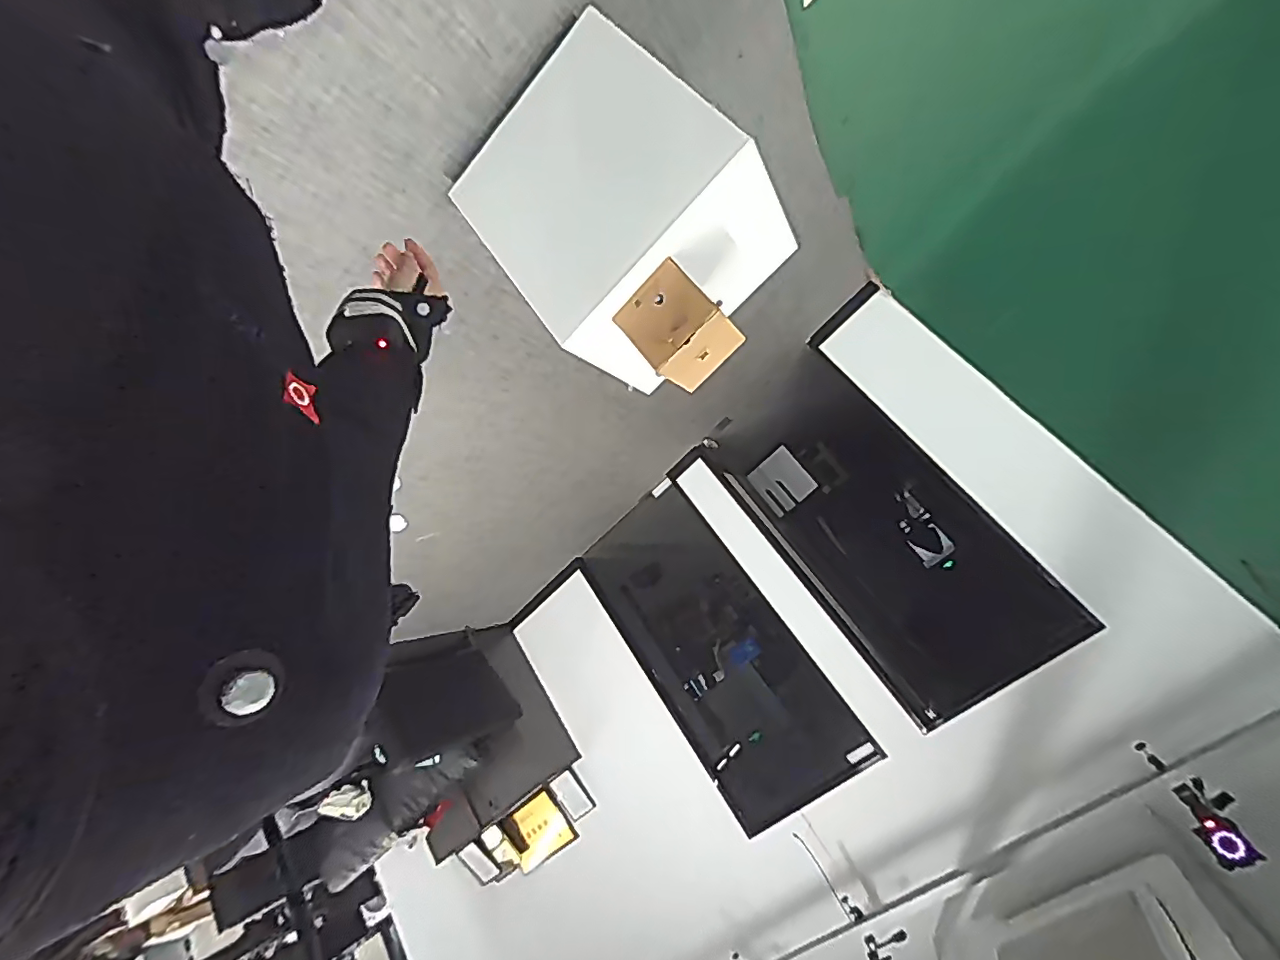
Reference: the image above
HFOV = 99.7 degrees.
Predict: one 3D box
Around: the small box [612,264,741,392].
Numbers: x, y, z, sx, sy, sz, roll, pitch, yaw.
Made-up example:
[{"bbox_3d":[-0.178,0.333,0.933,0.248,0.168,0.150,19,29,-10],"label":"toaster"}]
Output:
[{"bbox_3d":[0.076,-0.314,1.128,0.168,0.176,0.179,-43,157,18],"label":"small box"}]
